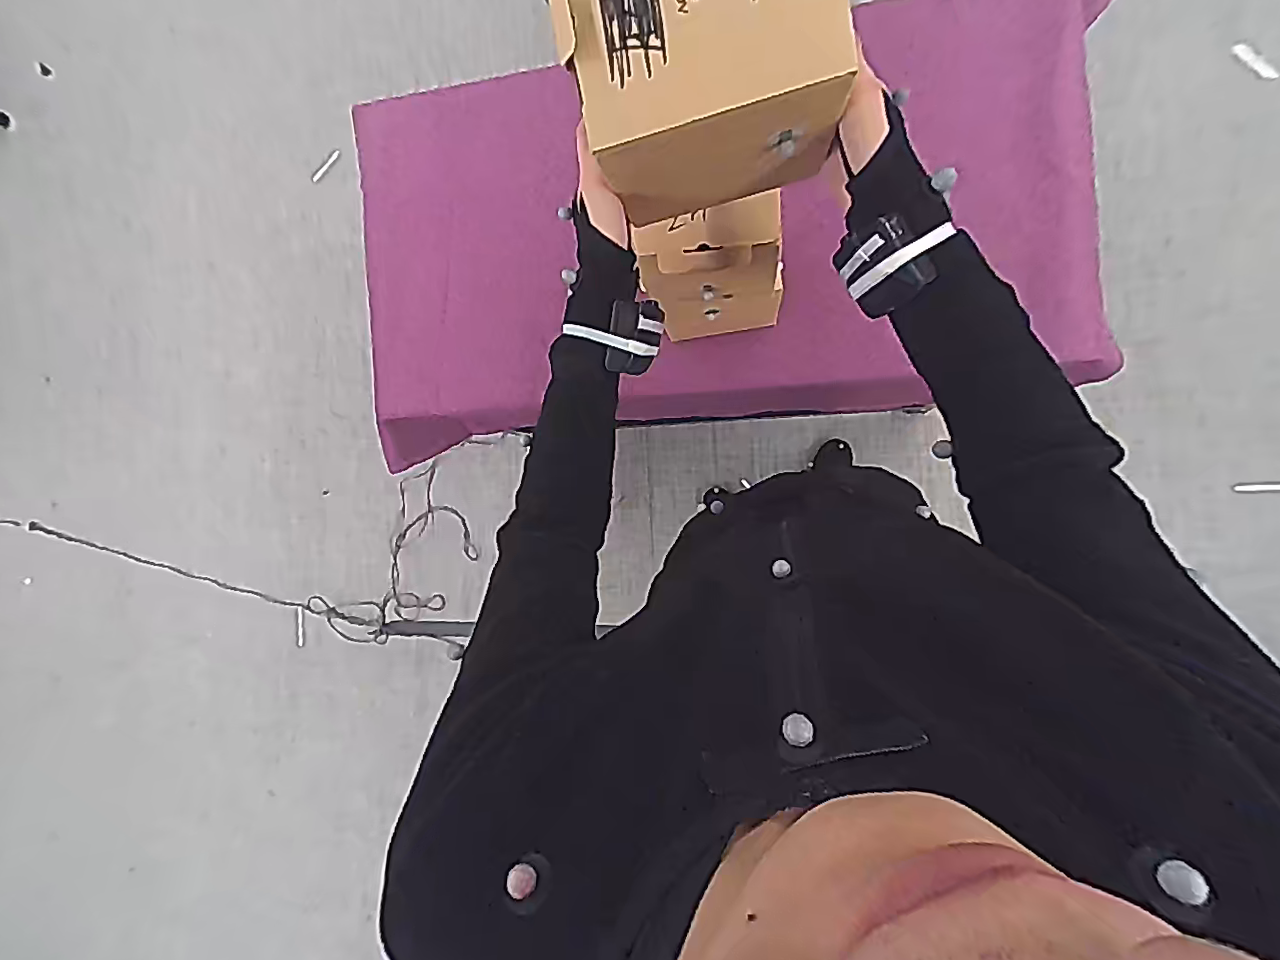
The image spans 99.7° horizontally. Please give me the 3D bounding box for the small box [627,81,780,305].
[{"bbox_3d":[0.080,-0.332,0.659,0.168,0.176,0.179,-1,89,11],"label":"small box"}]

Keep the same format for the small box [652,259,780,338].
[{"bbox_3d":[0.110,-0.327,0.821,0.179,0.176,0.168,-7,89,10],"label":"small box"}]
